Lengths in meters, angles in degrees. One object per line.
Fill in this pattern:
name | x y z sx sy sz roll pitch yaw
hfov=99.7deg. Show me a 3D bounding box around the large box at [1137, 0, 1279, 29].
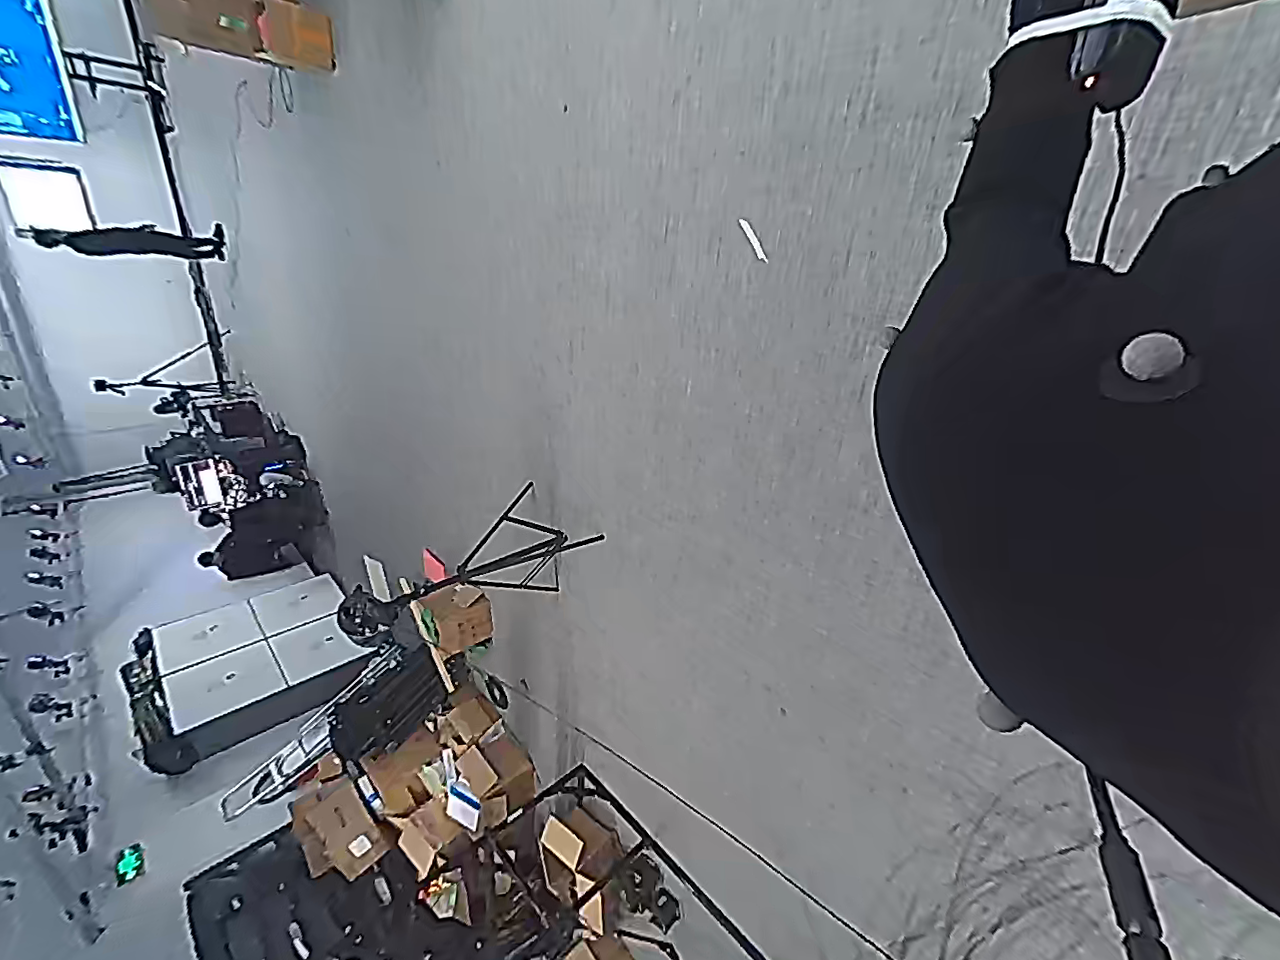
large box | 0.569 -0.499 0.280 0.408 0.320 0.320 16 129 41
